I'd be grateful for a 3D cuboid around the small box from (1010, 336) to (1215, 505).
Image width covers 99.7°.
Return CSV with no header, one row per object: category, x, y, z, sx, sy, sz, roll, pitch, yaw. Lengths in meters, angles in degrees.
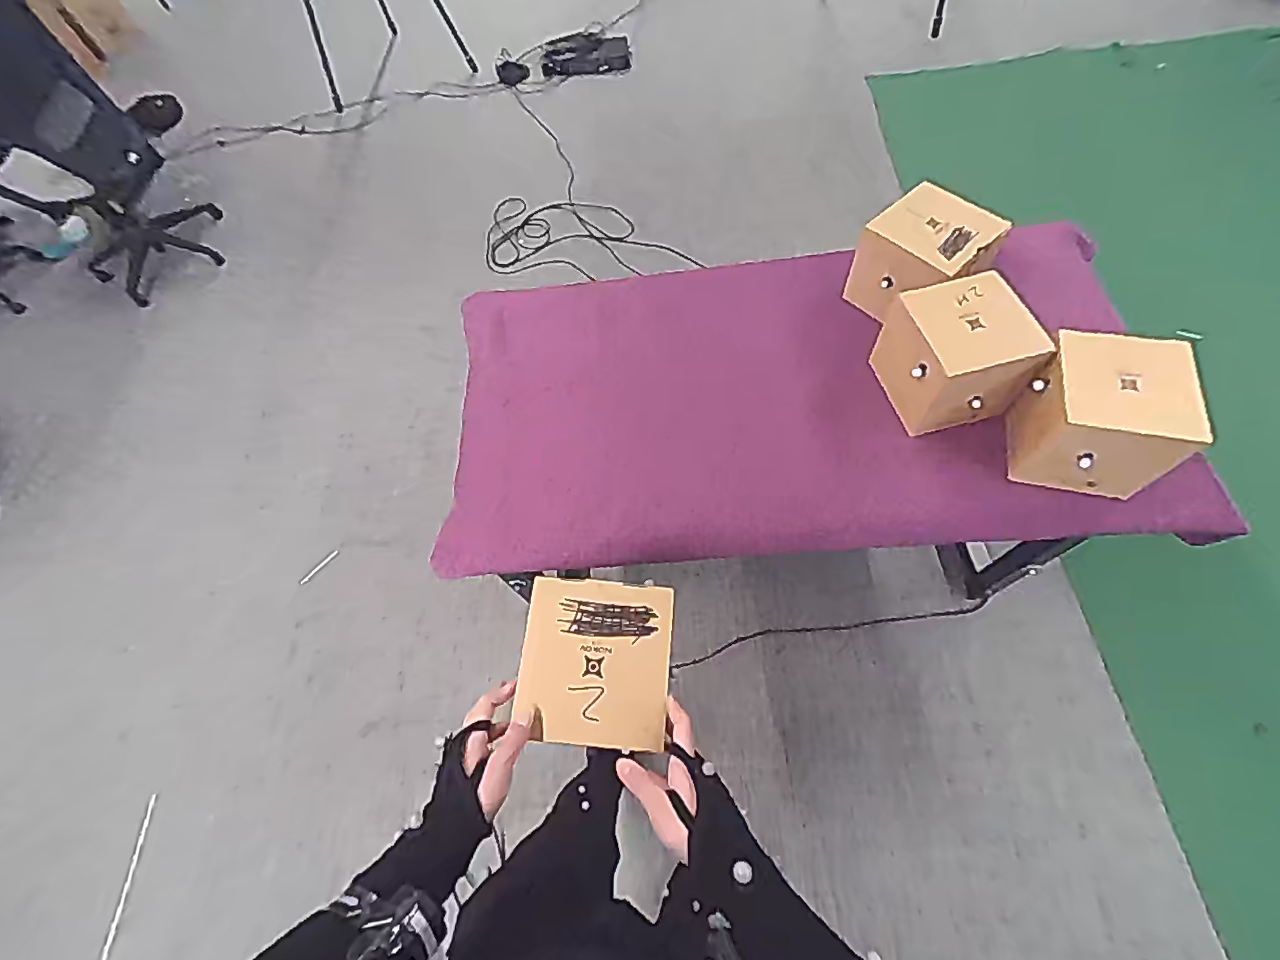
small box,0.679,-0.083,0.804,0.168,0.176,0.179,11,62,13
